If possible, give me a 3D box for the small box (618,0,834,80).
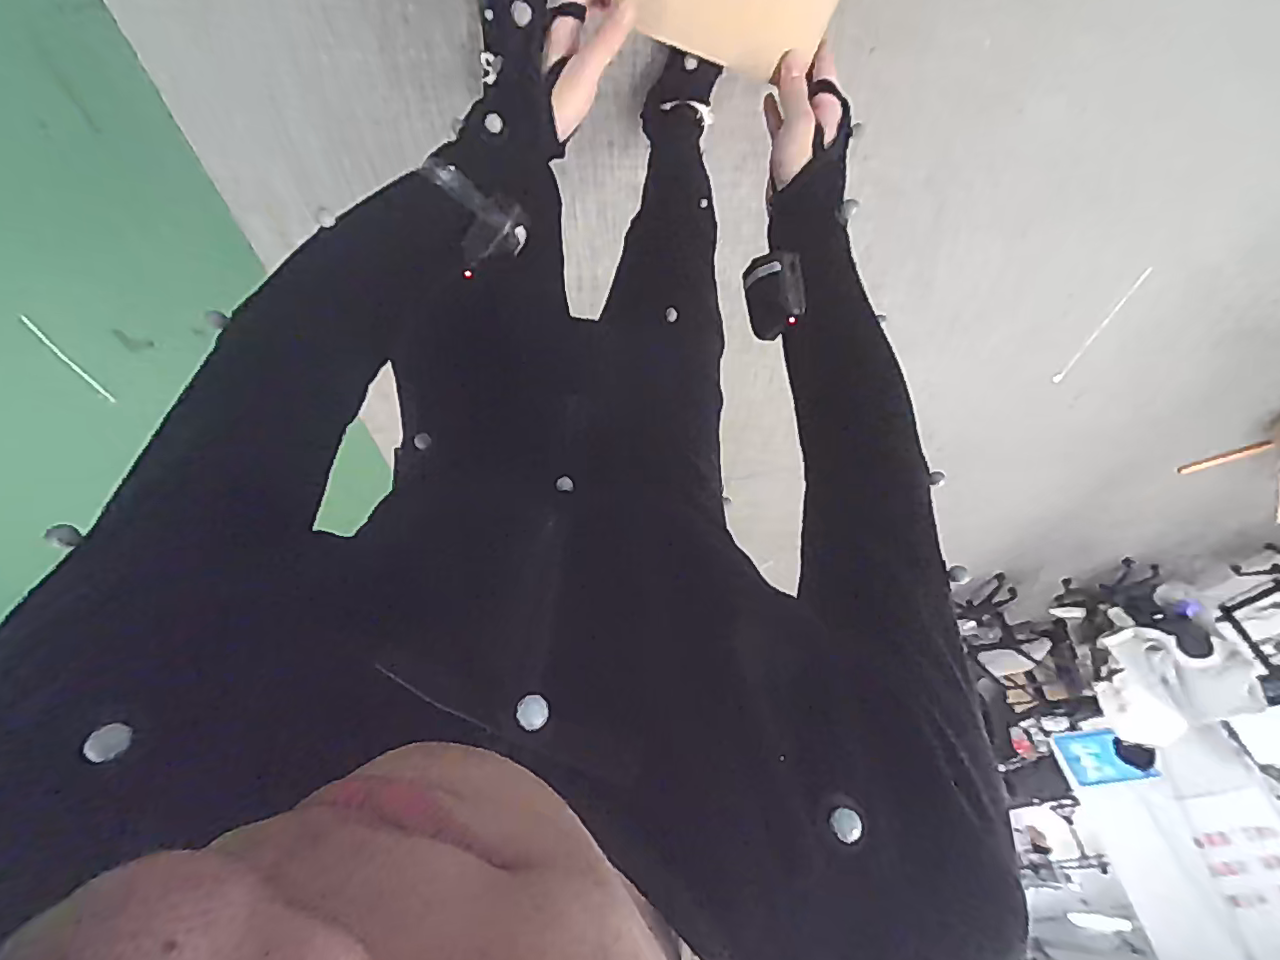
[{"bbox_3d":[0.076,-0.477,0.452,0.179,0.176,0.168,8,136,-18],"label":"small box"}]
